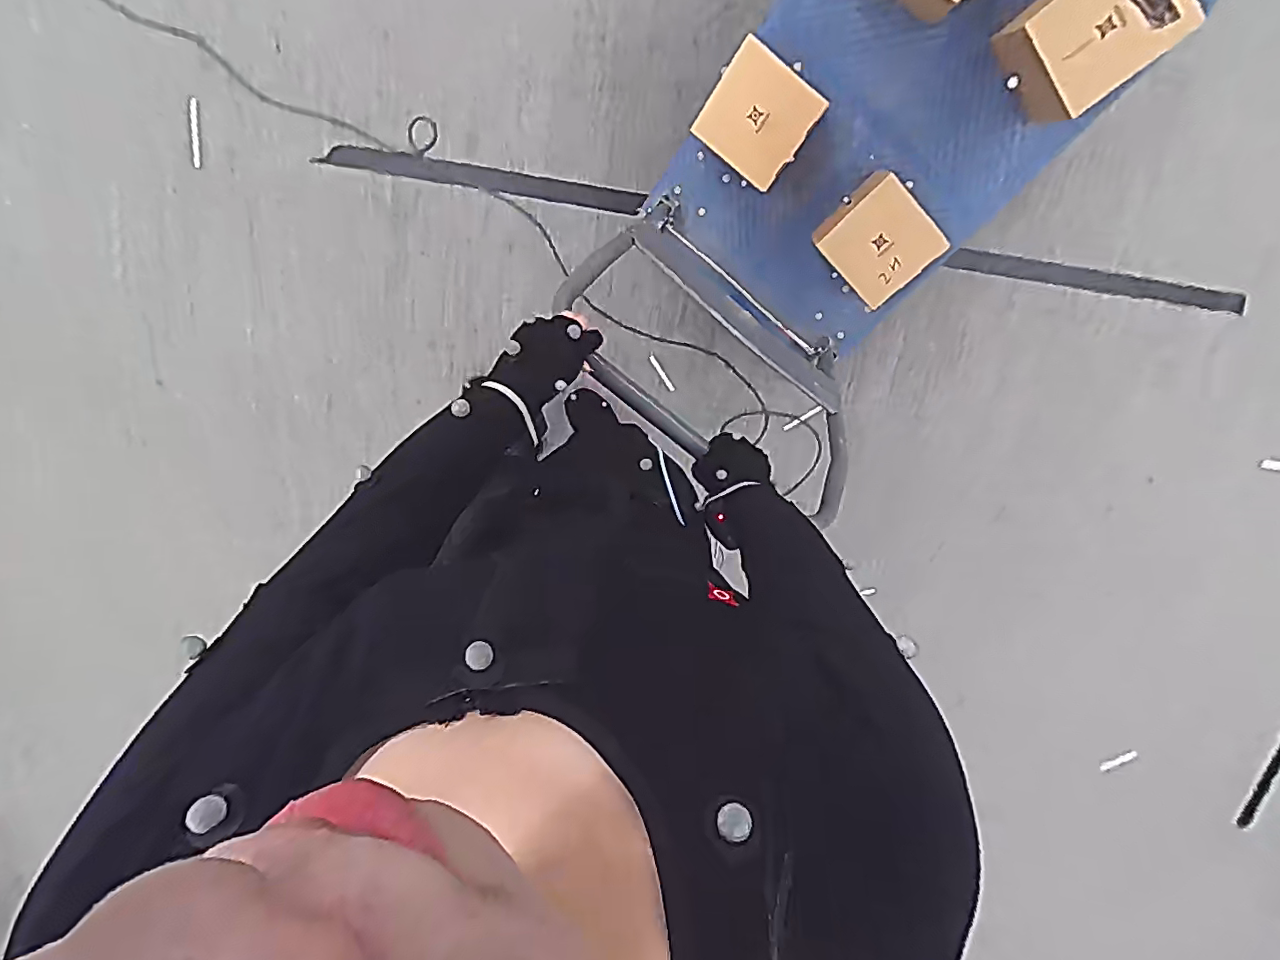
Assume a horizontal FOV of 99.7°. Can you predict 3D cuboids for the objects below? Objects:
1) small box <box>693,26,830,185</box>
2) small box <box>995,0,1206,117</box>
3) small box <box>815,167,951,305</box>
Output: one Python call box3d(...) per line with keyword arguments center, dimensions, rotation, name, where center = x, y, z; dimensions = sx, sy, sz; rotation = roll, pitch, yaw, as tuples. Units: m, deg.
box3d(center=(0.219, -0.676, 0.996), dimensions=(0.179, 0.176, 0.168), rotation=(34, 123, -10), name="small box")
box3d(center=(0.708, -0.713, 0.853), dimensions=(0.179, 0.176, 0.168), rotation=(-34, 108, 30), name="small box")
box3d(center=(0.461, -0.479, 1.057), dimensions=(0.179, 0.176, 0.168), rotation=(42, 122, -13), name="small box")
